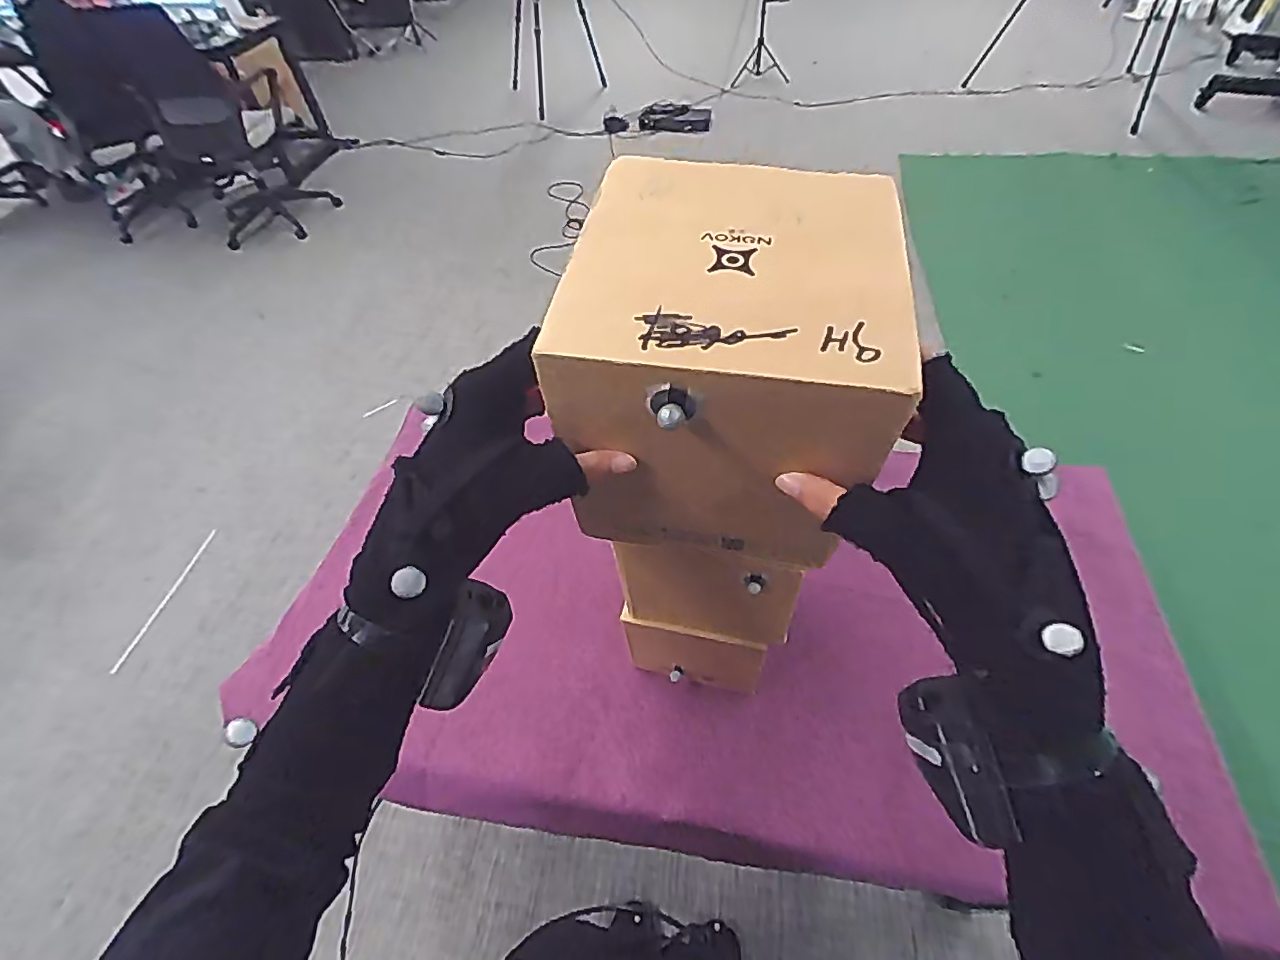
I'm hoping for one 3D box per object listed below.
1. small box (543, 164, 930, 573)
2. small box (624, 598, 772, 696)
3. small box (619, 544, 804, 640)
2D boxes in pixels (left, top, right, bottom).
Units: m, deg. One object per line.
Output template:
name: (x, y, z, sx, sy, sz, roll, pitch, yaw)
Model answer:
small box: (0.054, -0.065, 0.337, 0.168, 0.176, 0.179, 7, 56, 8)
small box: (0.086, 0.152, 0.698, 0.168, 0.176, 0.179, 9, 54, 13)
small box: (0.082, 0.052, 0.572, 0.179, 0.176, 0.168, 8, 53, 11)
